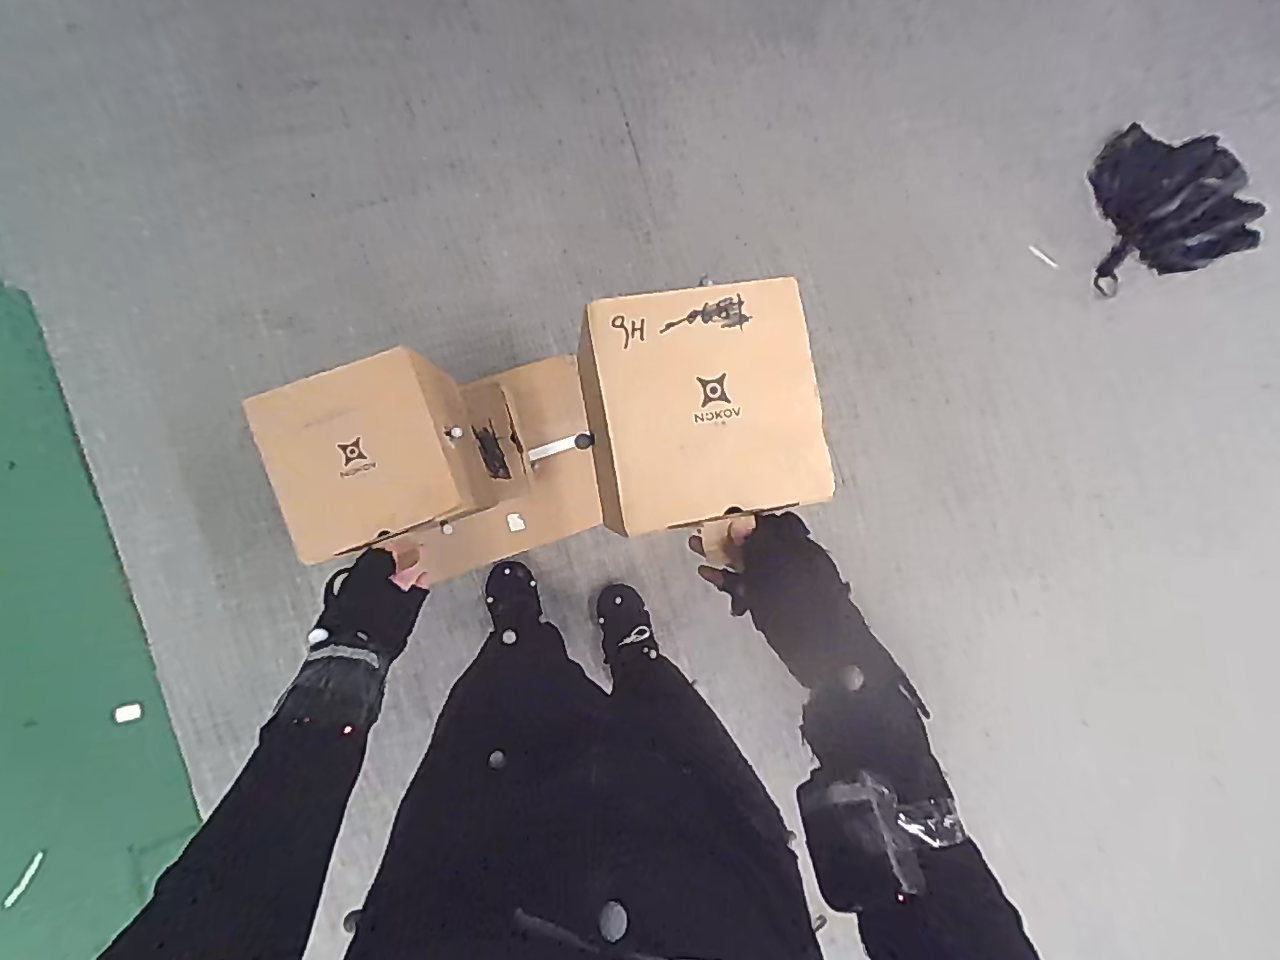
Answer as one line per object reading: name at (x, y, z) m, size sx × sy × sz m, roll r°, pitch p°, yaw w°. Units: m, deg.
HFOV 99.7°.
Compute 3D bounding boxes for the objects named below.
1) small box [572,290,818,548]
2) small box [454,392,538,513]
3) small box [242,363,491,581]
small box at (0.034, -0.048, 0.486) m, size 0.168 × 0.176 × 0.179 m, roll -11°, pitch 90°, yaw -9°
small box at (-0.270, -0.032, 0.852) m, size 0.179 × 0.176 × 0.168 m, roll -19°, pitch 97°, yaw -7°
small box at (-0.287, -0.009, 0.612) m, size 0.168 × 0.176 × 0.179 m, roll -22°, pitch 91°, yaw -4°
